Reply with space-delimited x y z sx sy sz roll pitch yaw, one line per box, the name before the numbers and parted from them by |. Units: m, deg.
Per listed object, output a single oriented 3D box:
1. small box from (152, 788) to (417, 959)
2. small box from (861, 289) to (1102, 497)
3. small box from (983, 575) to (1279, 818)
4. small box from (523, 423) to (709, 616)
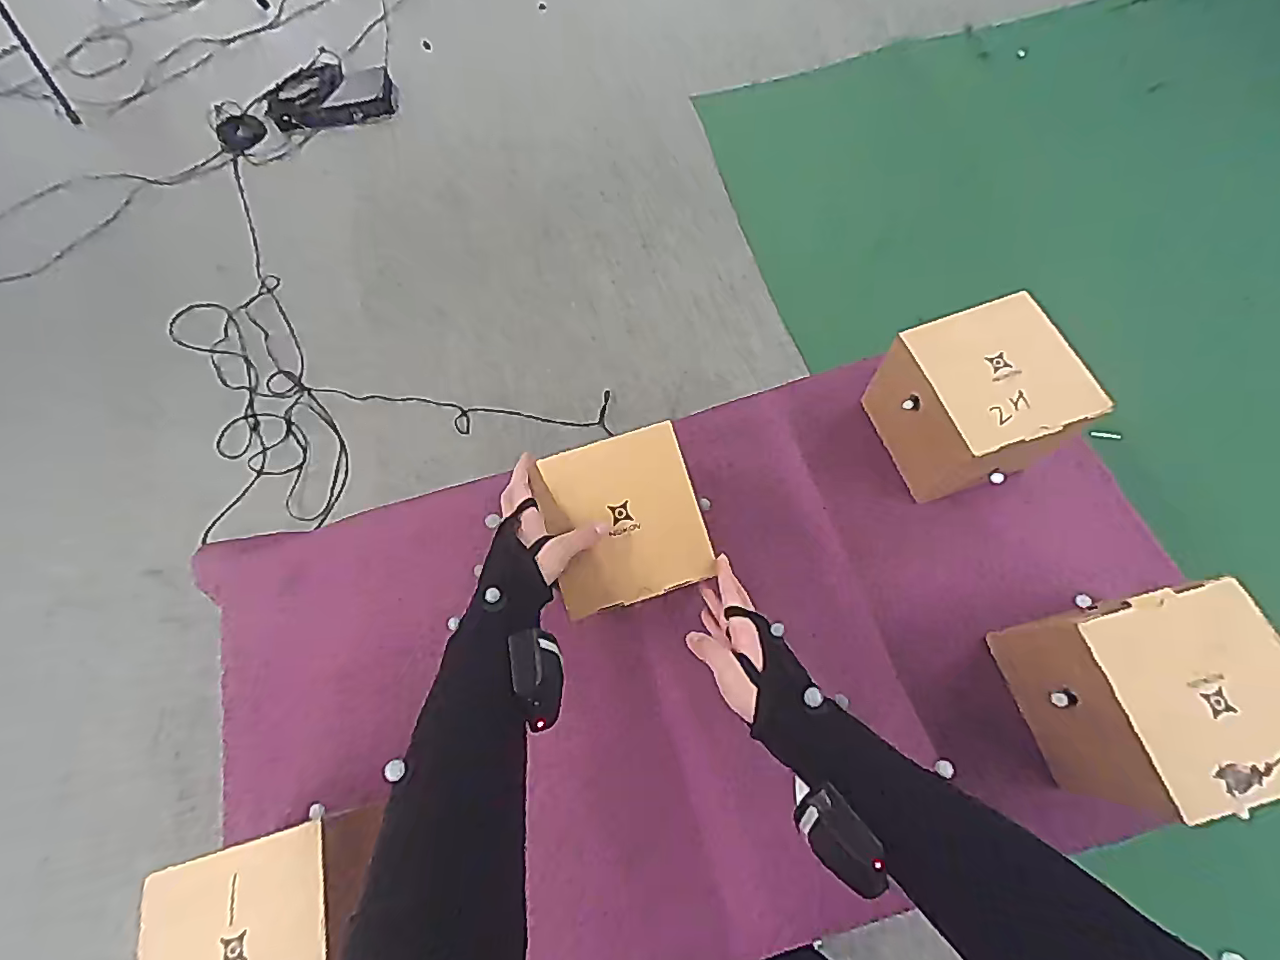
small box | -0.350 0.447 0.559 0.168 0.176 0.179 -17 67 -1
small box | 0.409 -0.101 0.689 0.168 0.176 0.179 -19 70 1
small box | 0.505 0.217 0.562 0.168 0.176 0.179 -16 69 1
small box | -0.026 0.052 0.660 0.168 0.176 0.179 -17 82 0
